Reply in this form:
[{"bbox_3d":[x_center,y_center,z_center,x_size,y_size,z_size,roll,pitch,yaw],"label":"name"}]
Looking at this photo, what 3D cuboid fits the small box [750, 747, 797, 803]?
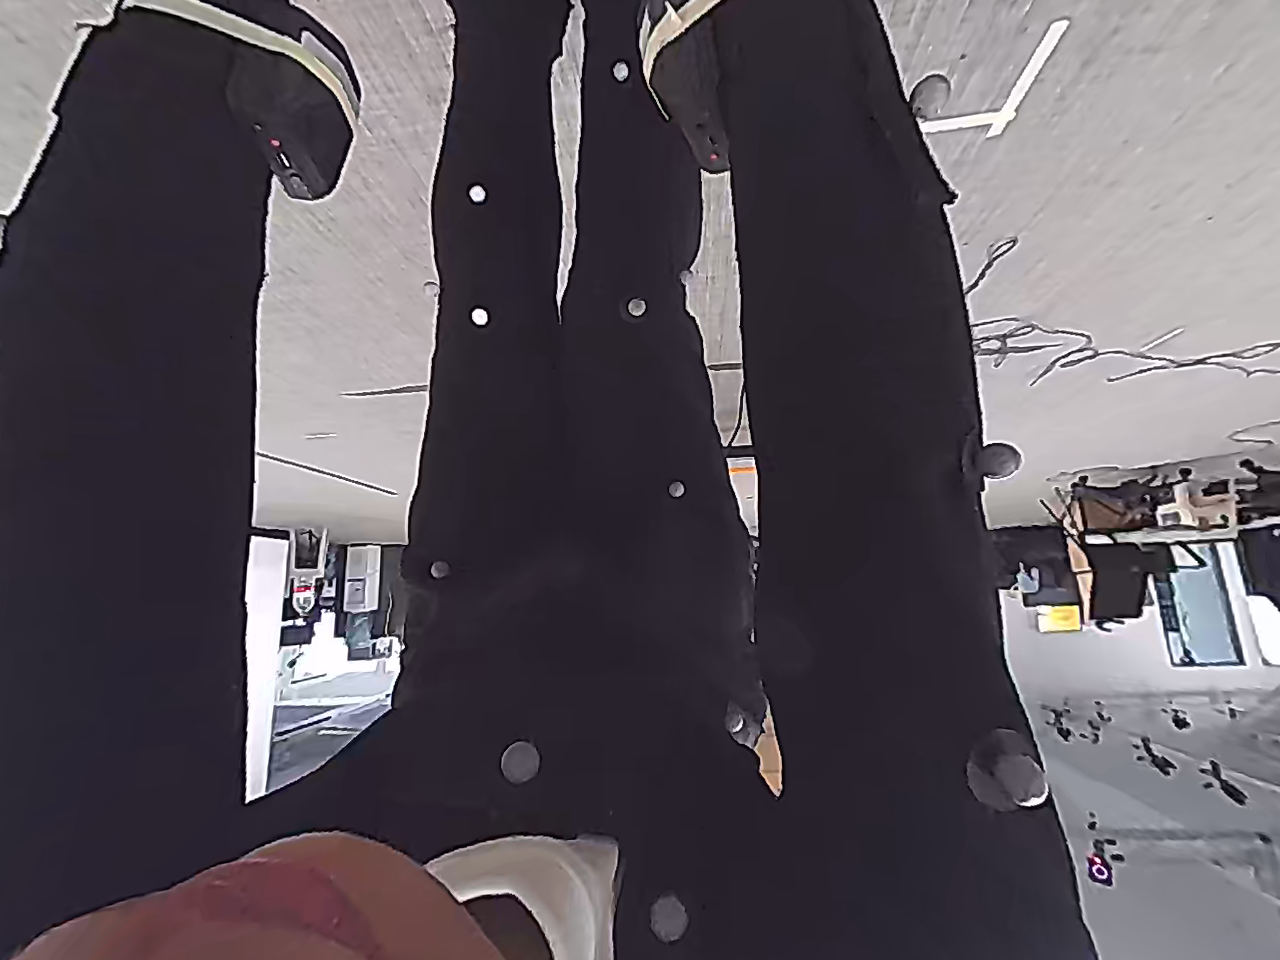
[{"bbox_3d":[0.563,1.247,2.295,0.179,0.176,0.168,-3,168,9],"label":"small box"}]
